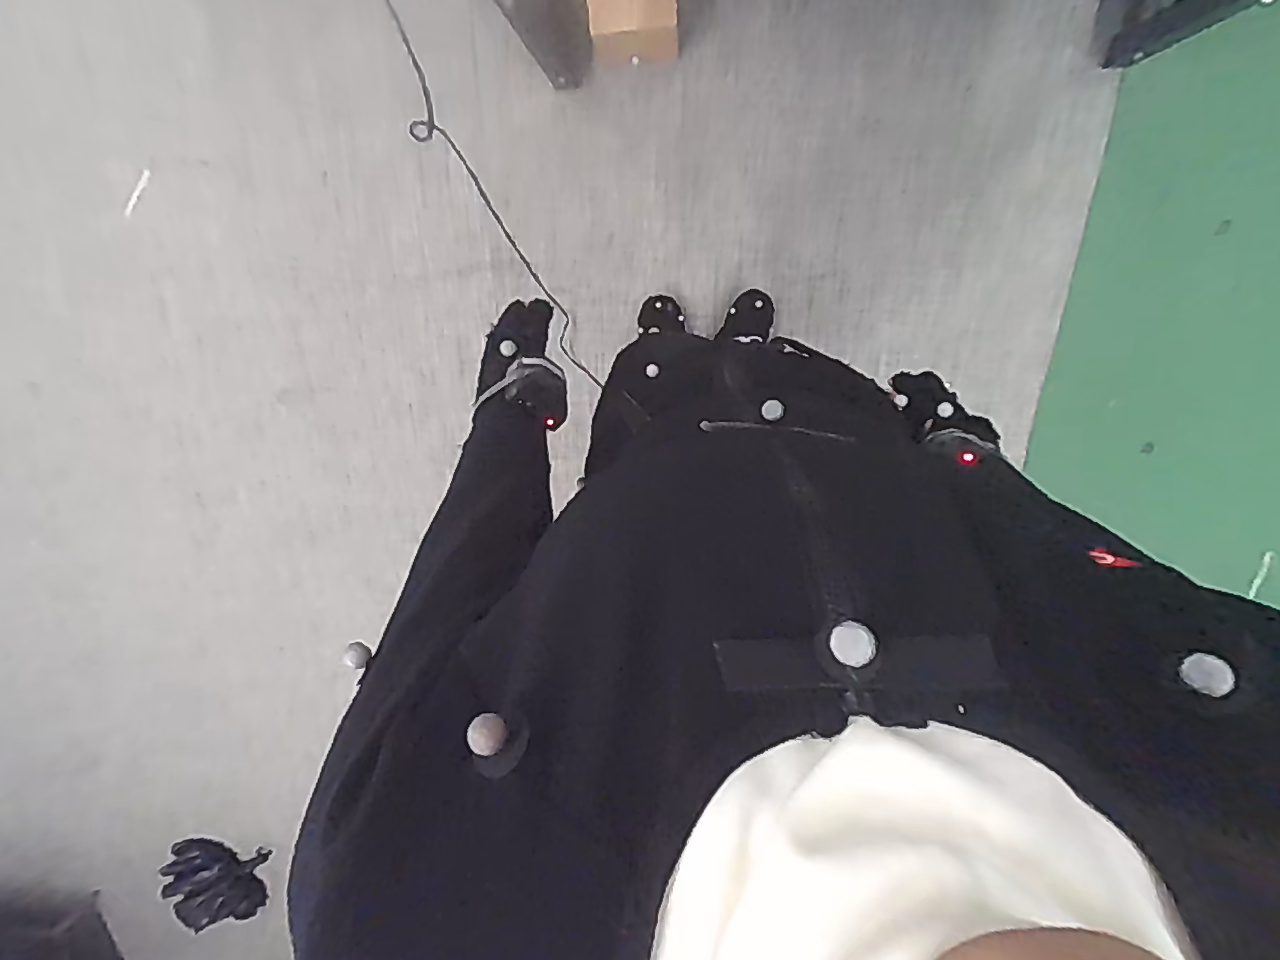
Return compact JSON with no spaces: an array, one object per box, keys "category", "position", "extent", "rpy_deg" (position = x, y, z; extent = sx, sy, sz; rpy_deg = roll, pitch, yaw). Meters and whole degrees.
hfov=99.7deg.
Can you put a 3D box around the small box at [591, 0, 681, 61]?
[{"category":"small box","position":[-0.006,-0.953,1.045],"extent":[0.168,0.176,0.179],"rpy_deg":[-2,111,6]}]
